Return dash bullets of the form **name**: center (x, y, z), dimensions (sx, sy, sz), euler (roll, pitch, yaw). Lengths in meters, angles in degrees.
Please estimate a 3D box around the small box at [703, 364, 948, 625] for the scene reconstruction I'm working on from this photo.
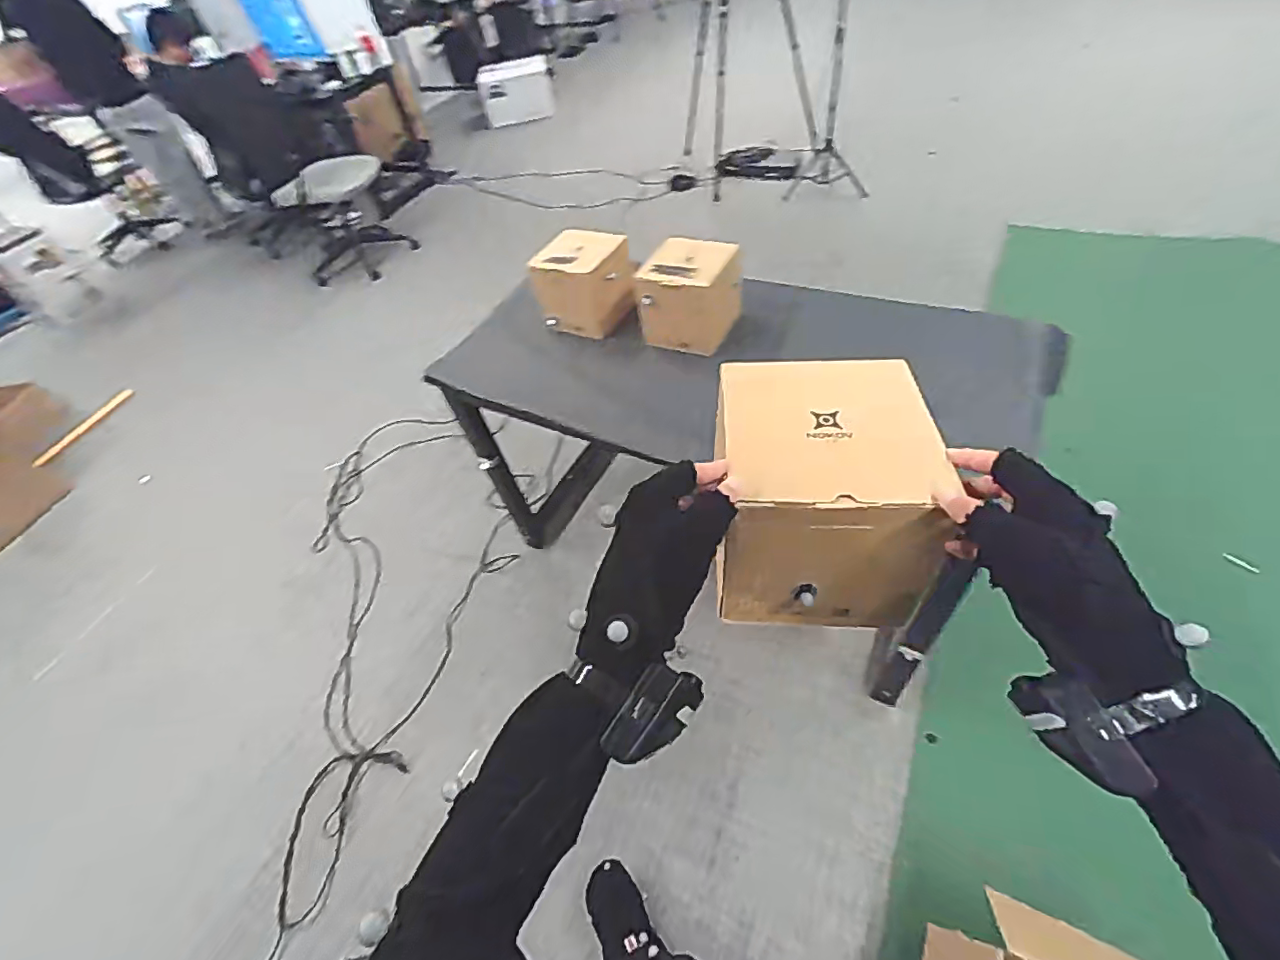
- **small box**: center (0.144, 0.012, 0.499), dimensions (0.168, 0.176, 0.179), euler (-1, 46, 5)

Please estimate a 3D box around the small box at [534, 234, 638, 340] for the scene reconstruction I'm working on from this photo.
- **small box**: center (-0.119, -0.459, 1.289), dimensions (0.168, 0.176, 0.179), euler (19, 55, 24)
